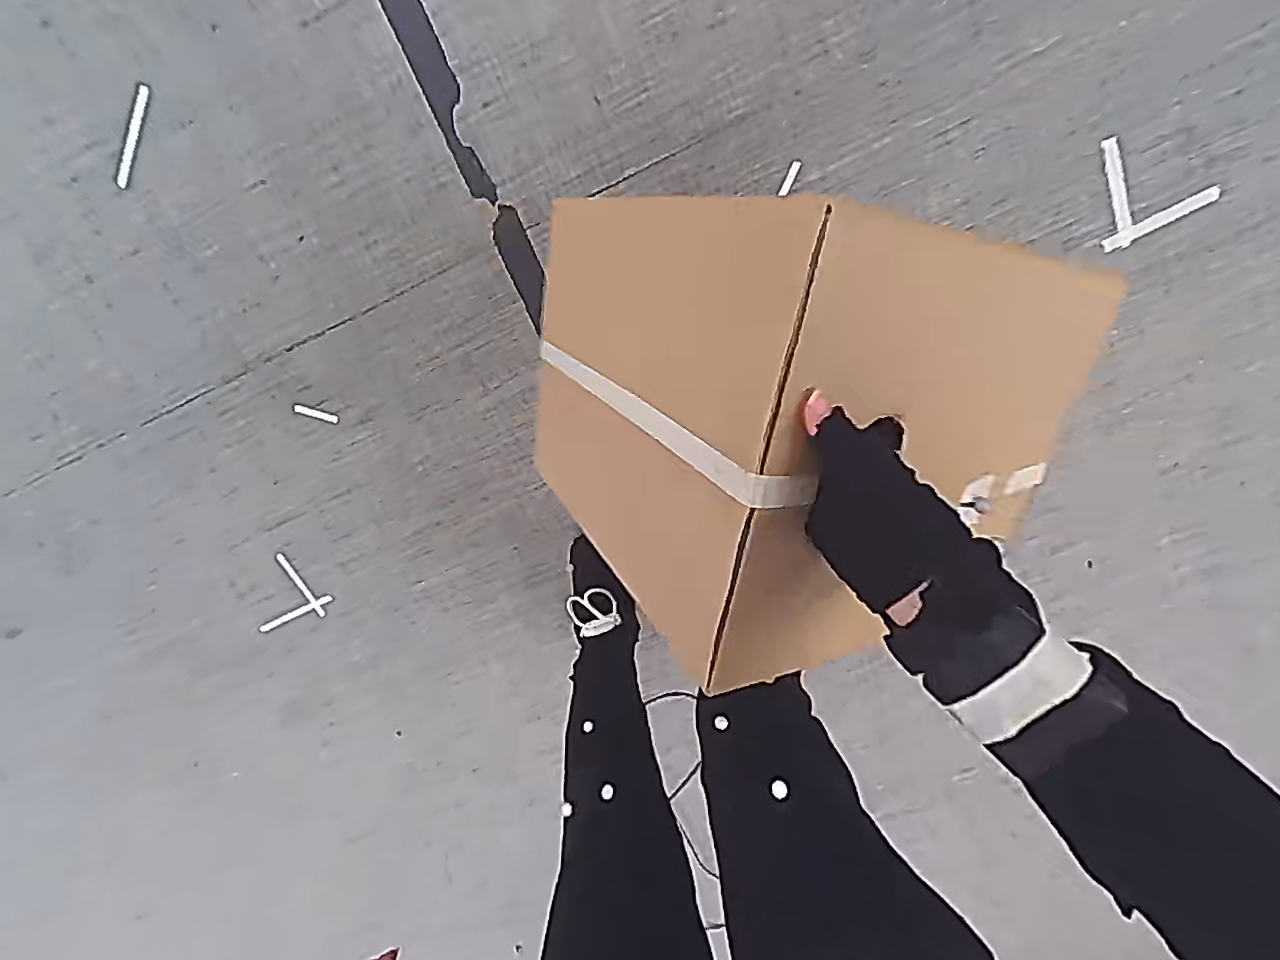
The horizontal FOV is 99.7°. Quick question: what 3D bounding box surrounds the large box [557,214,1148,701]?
[{"bbox_3d":[0.134,-0.068,0.540,0.320,0.408,0.320,-4,116,-26],"label":"large box"}]
